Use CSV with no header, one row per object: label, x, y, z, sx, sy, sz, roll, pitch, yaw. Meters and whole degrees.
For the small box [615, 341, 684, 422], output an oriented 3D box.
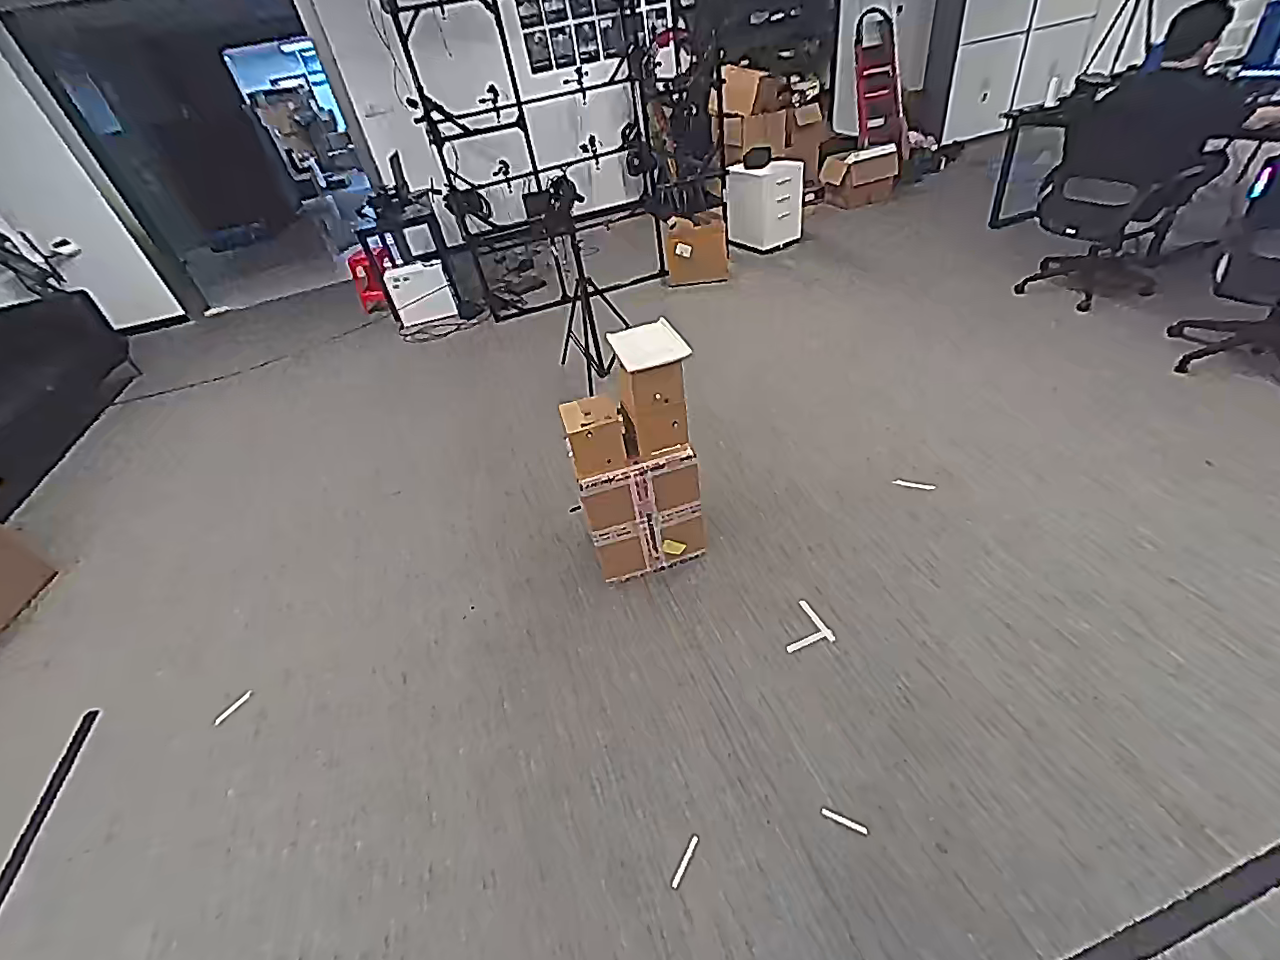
small box,0.029,-0.302,1.665,0.168,0.176,0.179,-16,41,-9
